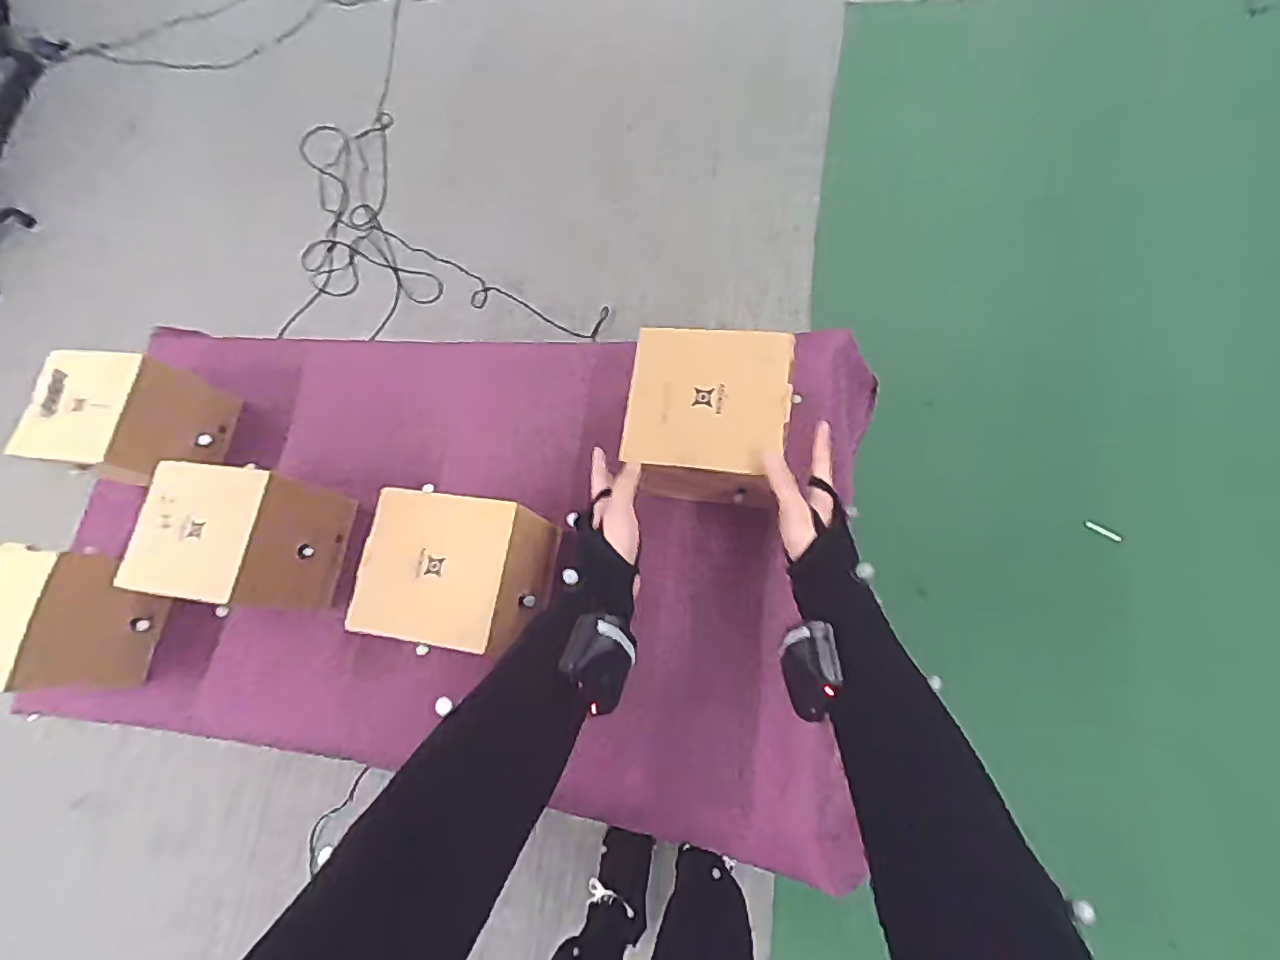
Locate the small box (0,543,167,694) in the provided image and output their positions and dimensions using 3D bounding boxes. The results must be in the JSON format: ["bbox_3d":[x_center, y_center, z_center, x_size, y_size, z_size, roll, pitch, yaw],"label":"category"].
[{"bbox_3d":[-0.819,0.192,0.755,0.168,0.176,0.179,3,73,12],"label":"small box"}]

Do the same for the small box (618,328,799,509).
[{"bbox_3d":[0.089,-0.066,0.658,0.179,0.176,0.168,7,77,14],"label":"small box"}]

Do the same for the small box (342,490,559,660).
[{"bbox_3d":[-0.216,0.119,0.667,0.179,0.176,0.168,5,76,13],"label":"small box"}]

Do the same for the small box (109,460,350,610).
[{"bbox_3d":[-0.536,0.082,0.735,0.179,0.176,0.168,6,75,12],"label":"small box"}]

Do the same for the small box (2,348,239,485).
[{"bbox_3d":[-0.778,-0.086,0.829,0.179,0.176,0.168,5,76,11],"label":"small box"}]
